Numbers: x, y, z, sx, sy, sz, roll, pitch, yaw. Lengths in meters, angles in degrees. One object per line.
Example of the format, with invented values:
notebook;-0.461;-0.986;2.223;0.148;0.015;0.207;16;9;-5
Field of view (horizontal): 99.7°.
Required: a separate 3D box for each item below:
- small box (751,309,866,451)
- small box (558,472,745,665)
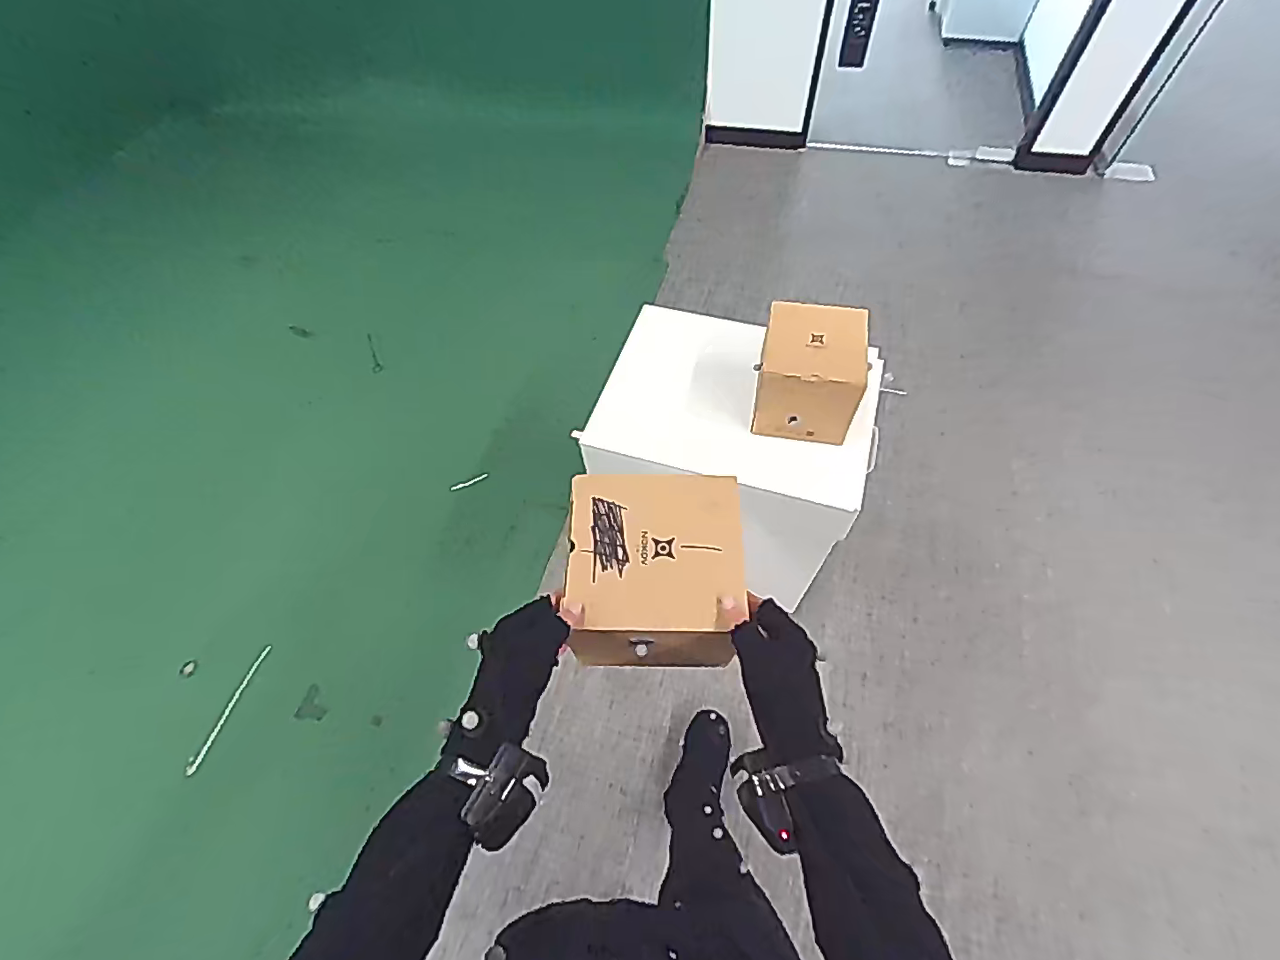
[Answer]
small box;0.297;-0.178;0.973;0.168;0.176;0.179;8;59;9
small box;0.015;0.105;0.604;0.179;0.176;0.168;1;59;1
